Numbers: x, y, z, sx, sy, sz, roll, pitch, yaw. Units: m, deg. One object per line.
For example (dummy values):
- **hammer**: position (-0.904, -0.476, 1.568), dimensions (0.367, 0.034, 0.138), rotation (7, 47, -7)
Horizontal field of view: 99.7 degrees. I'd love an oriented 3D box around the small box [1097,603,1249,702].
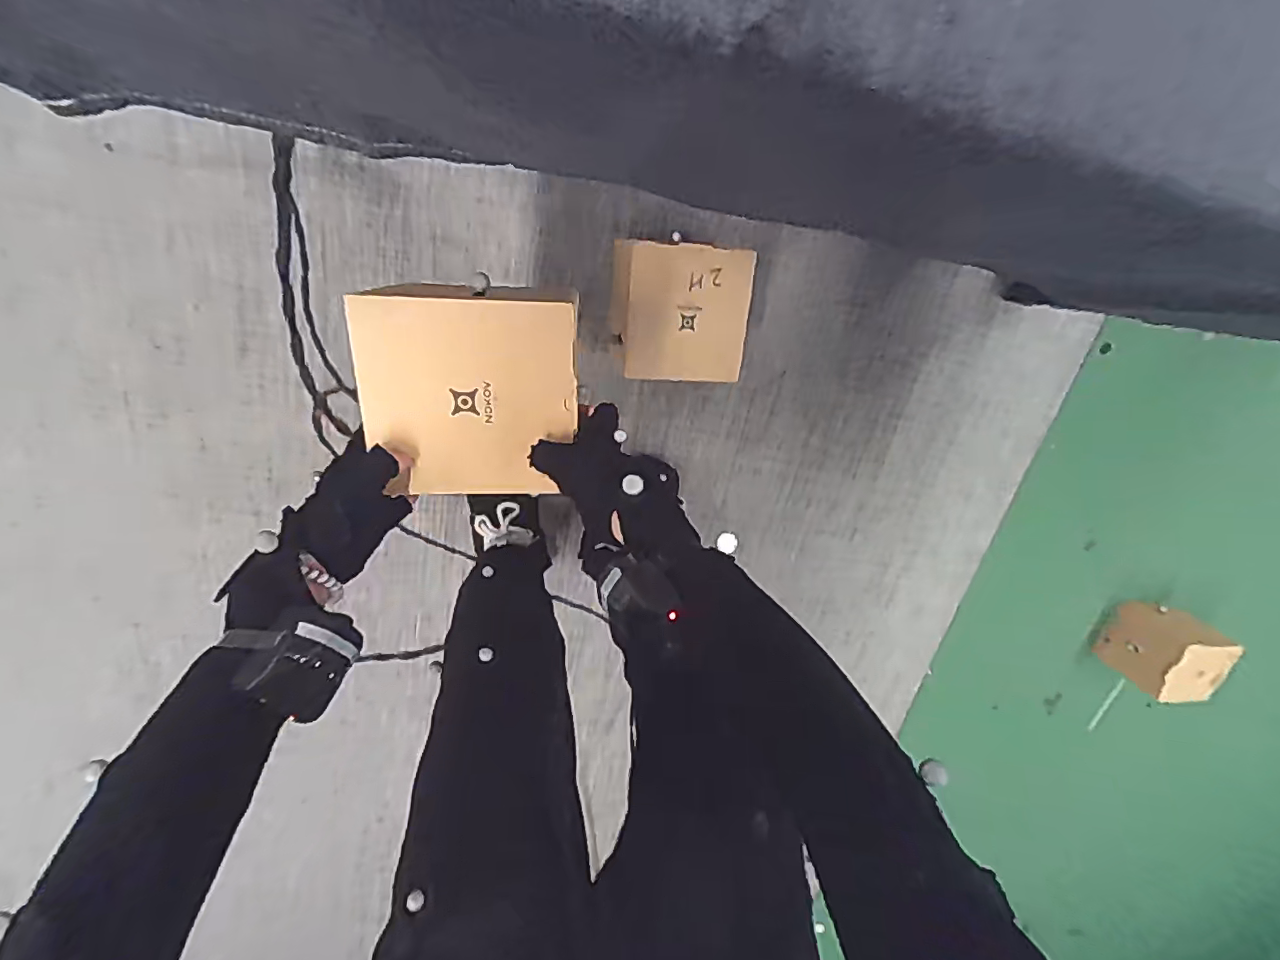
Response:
- **small box**: position (1.289, 0.417, 1.325), dimensions (0.179, 0.176, 0.168), rotation (6, 113, -12)
